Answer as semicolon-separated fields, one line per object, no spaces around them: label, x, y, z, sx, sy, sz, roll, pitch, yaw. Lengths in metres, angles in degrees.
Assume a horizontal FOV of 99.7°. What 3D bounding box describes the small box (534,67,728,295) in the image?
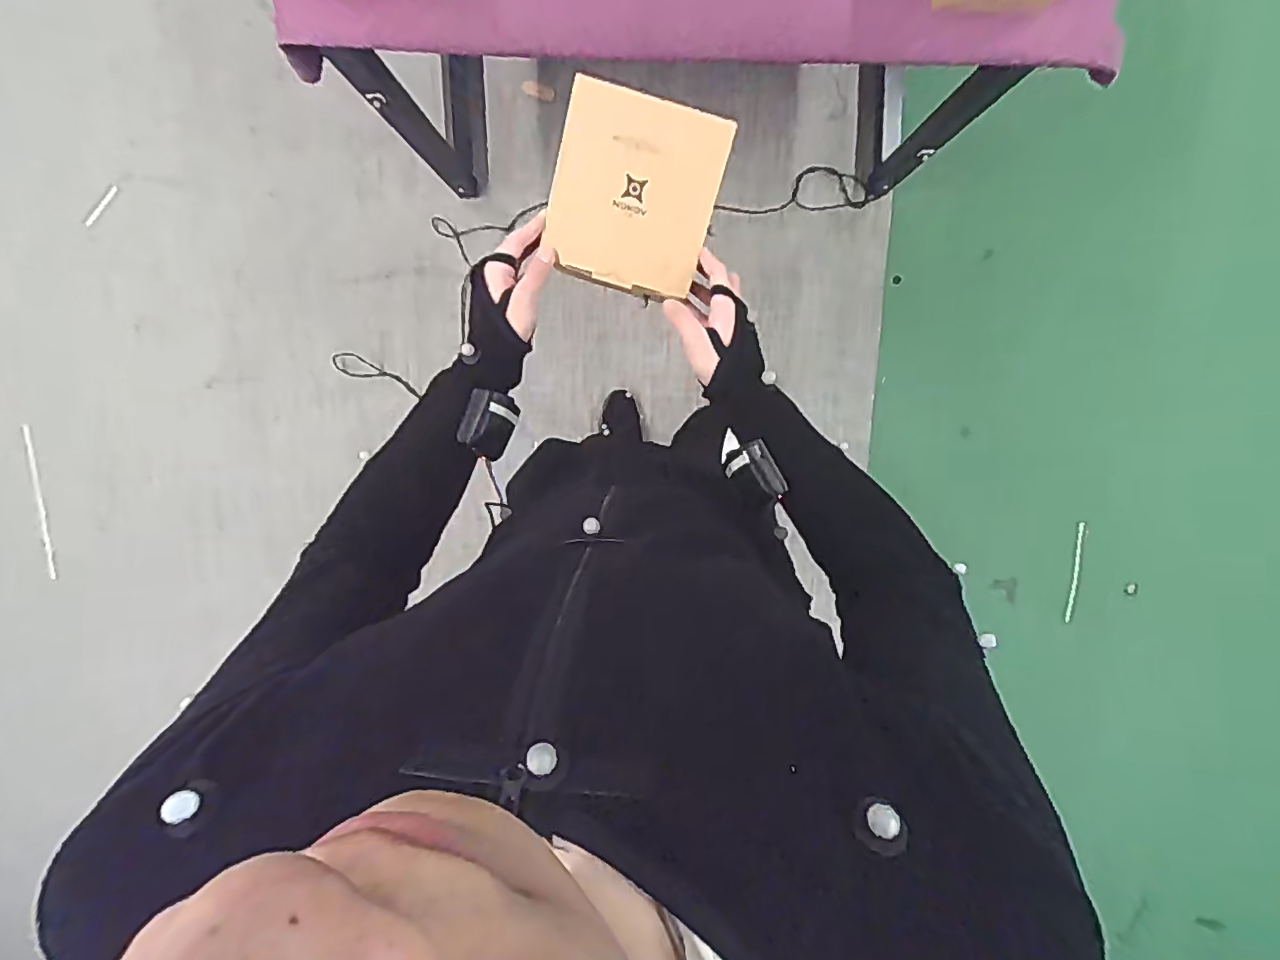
small box;-0.008;-0.325;0.630;0.168;0.176;0.179;16;107;-2
